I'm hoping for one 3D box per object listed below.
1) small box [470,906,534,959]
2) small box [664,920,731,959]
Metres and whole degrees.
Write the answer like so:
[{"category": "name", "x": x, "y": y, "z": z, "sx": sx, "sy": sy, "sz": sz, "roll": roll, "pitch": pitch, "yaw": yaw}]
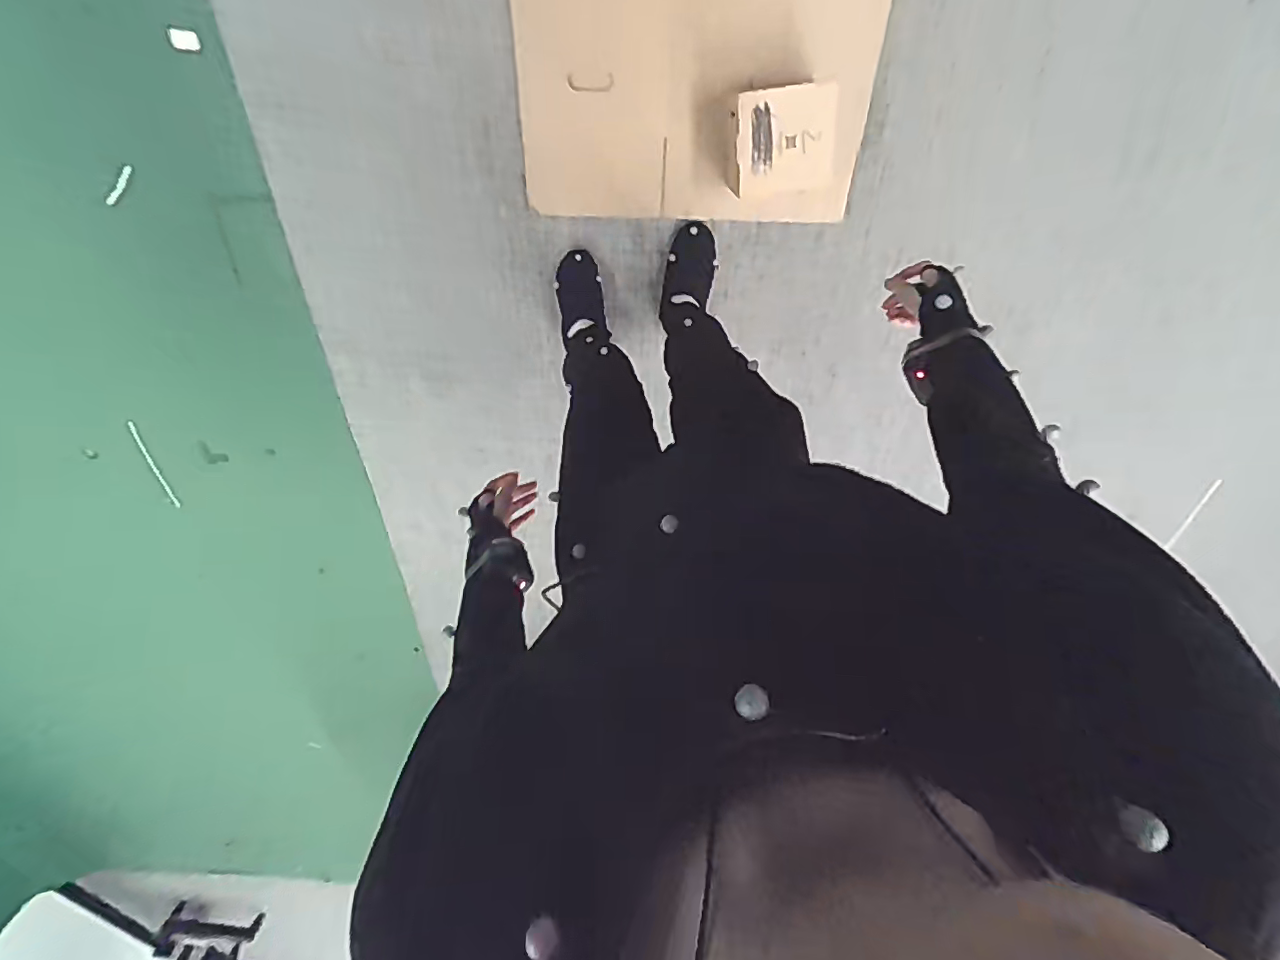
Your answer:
[{"category": "small box", "x": -0.421, "y": 1.422, "z": 1.635, "sx": 0.168, "sy": 0.176, "sz": 0.179, "roll": 8, "pitch": 125, "yaw": -3}, {"category": "small box", "x": 0.181, "y": 1.480, "z": 1.655, "sx": 0.179, "sy": 0.176, "sz": 0.168, "roll": -17, "pitch": 123, "yaw": 13}]
